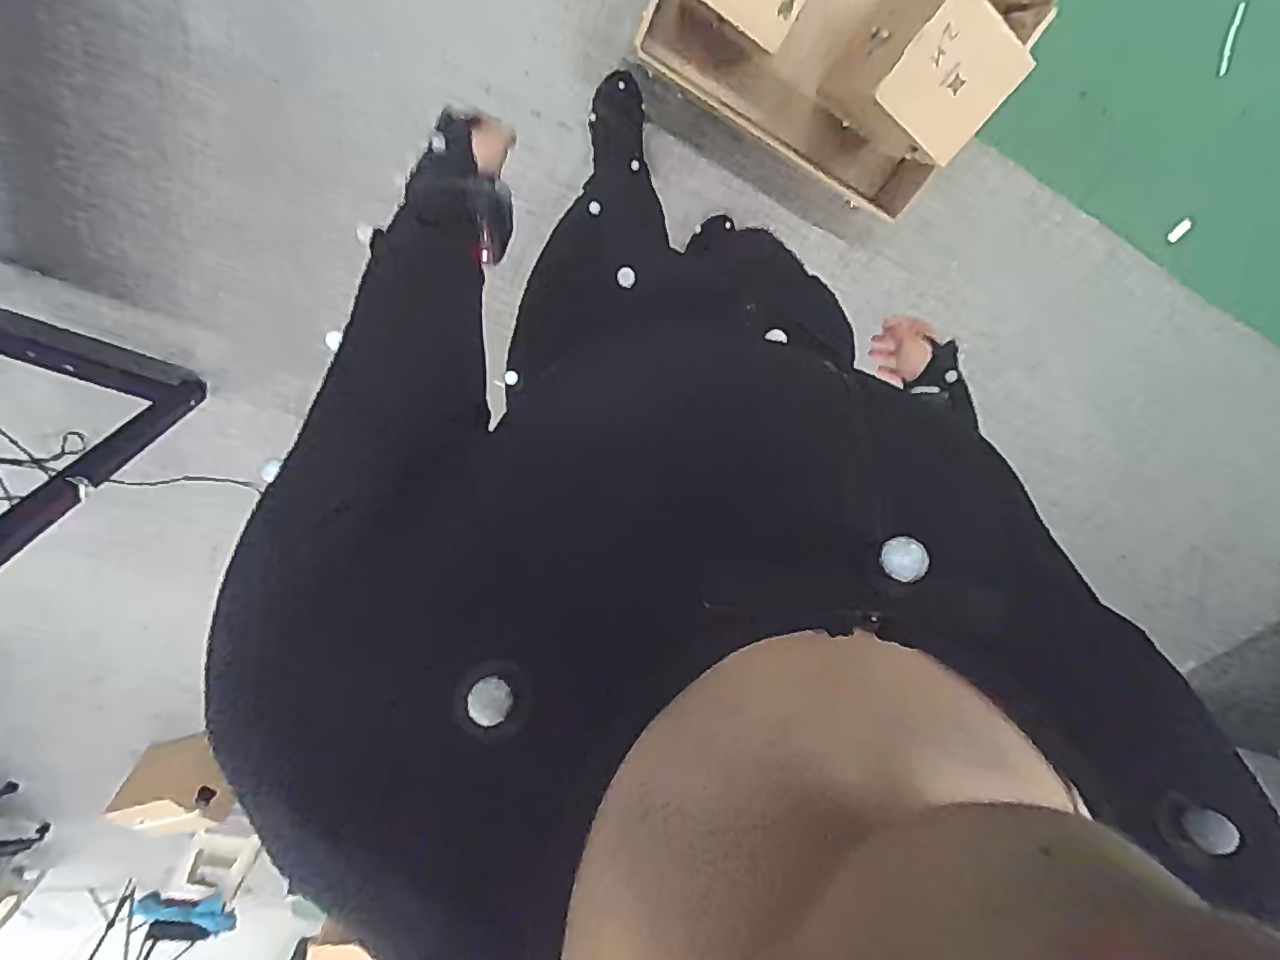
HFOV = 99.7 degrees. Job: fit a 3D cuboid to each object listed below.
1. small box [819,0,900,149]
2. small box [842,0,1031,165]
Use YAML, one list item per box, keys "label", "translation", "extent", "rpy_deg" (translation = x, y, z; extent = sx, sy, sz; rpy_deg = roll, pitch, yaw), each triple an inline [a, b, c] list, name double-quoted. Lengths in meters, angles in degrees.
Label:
- label: "small box"
  translation: [0.459, -0.755, 0.991]
  extent: [0.168, 0.176, 0.179]
  rpy_deg: [28, 124, -21]
- label: "small box"
  translation: [0.460, -0.649, 0.864]
  extent: [0.179, 0.176, 0.168]
  rpy_deg: [28, 122, -21]
